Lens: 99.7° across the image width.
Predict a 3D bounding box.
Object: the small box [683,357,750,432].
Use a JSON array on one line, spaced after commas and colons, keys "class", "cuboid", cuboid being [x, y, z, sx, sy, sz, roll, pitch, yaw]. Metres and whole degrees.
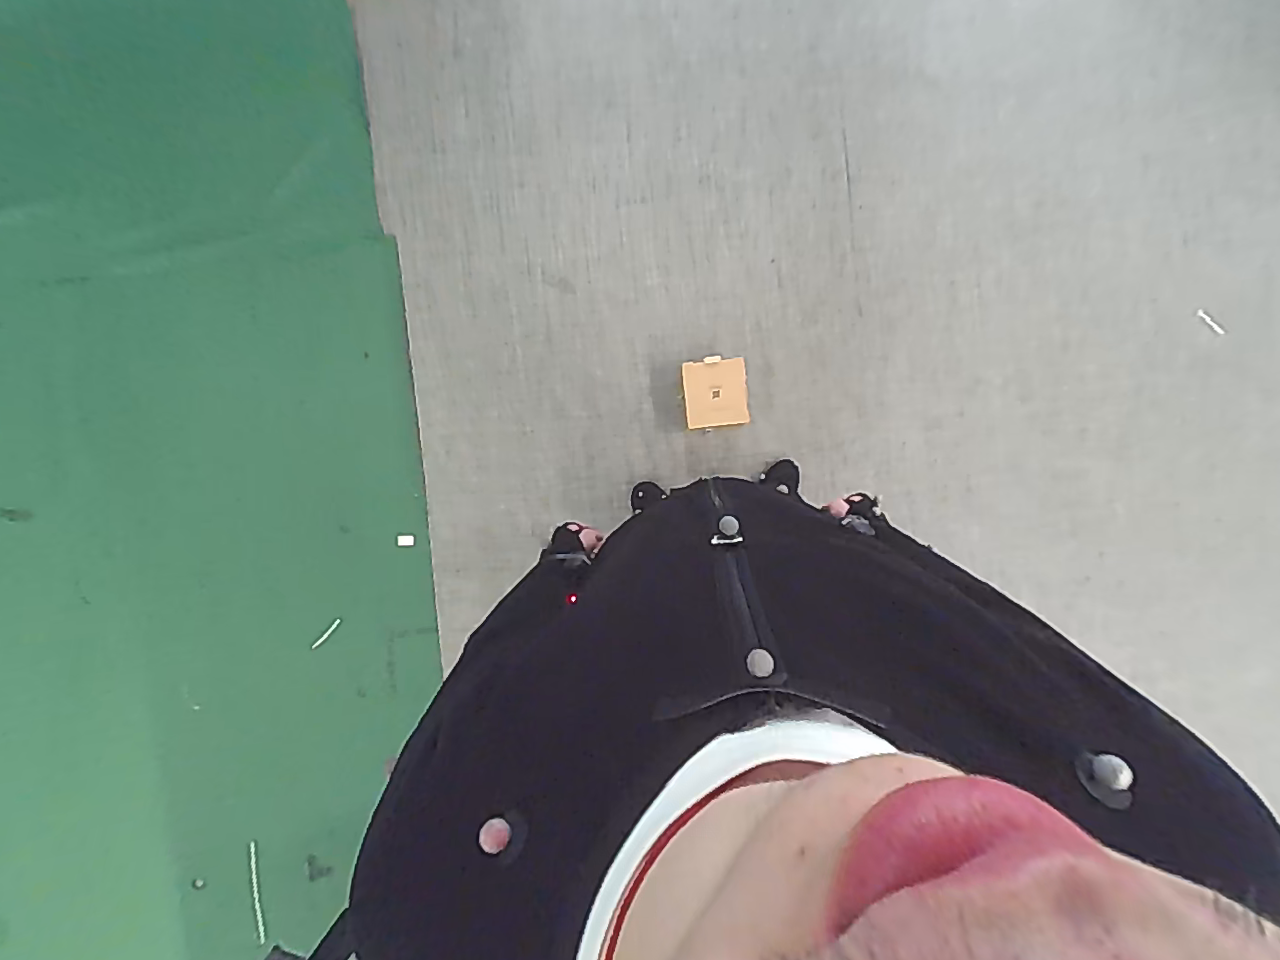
[{"class": "small box", "cuboid": [0.203, -0.228, 1.476, 0.168, 0.176, 0.179, -4, 91, 4]}]
